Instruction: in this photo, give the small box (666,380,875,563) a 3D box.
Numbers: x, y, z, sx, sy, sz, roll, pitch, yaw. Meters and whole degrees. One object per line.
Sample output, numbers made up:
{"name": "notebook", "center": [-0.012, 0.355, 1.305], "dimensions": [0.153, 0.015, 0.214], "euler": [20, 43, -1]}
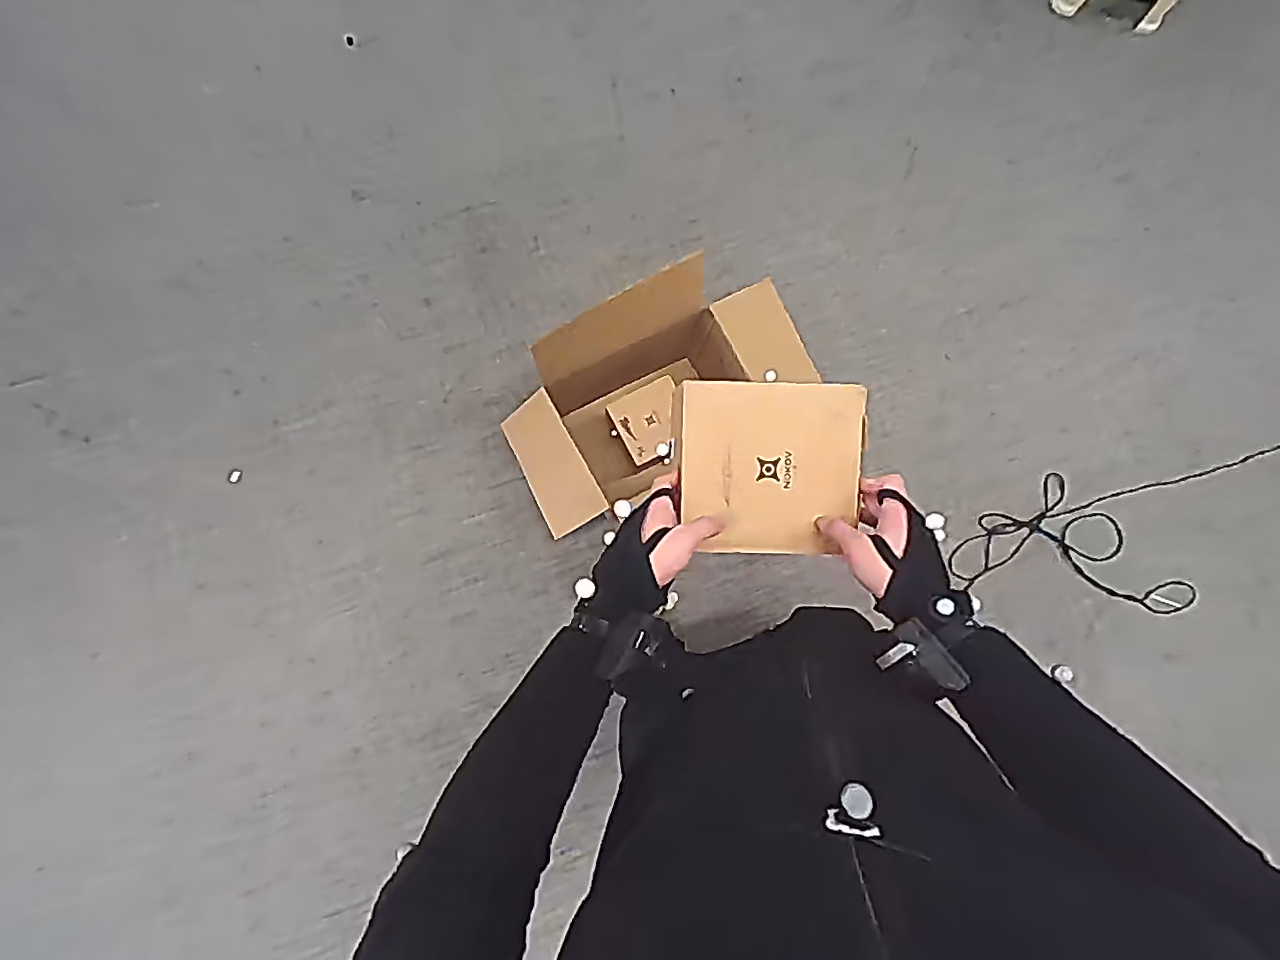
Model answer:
{"name": "small box", "center": [0.125, -0.012, 0.582], "dimensions": [0.179, 0.176, 0.168], "euler": [3, 93, -1]}
